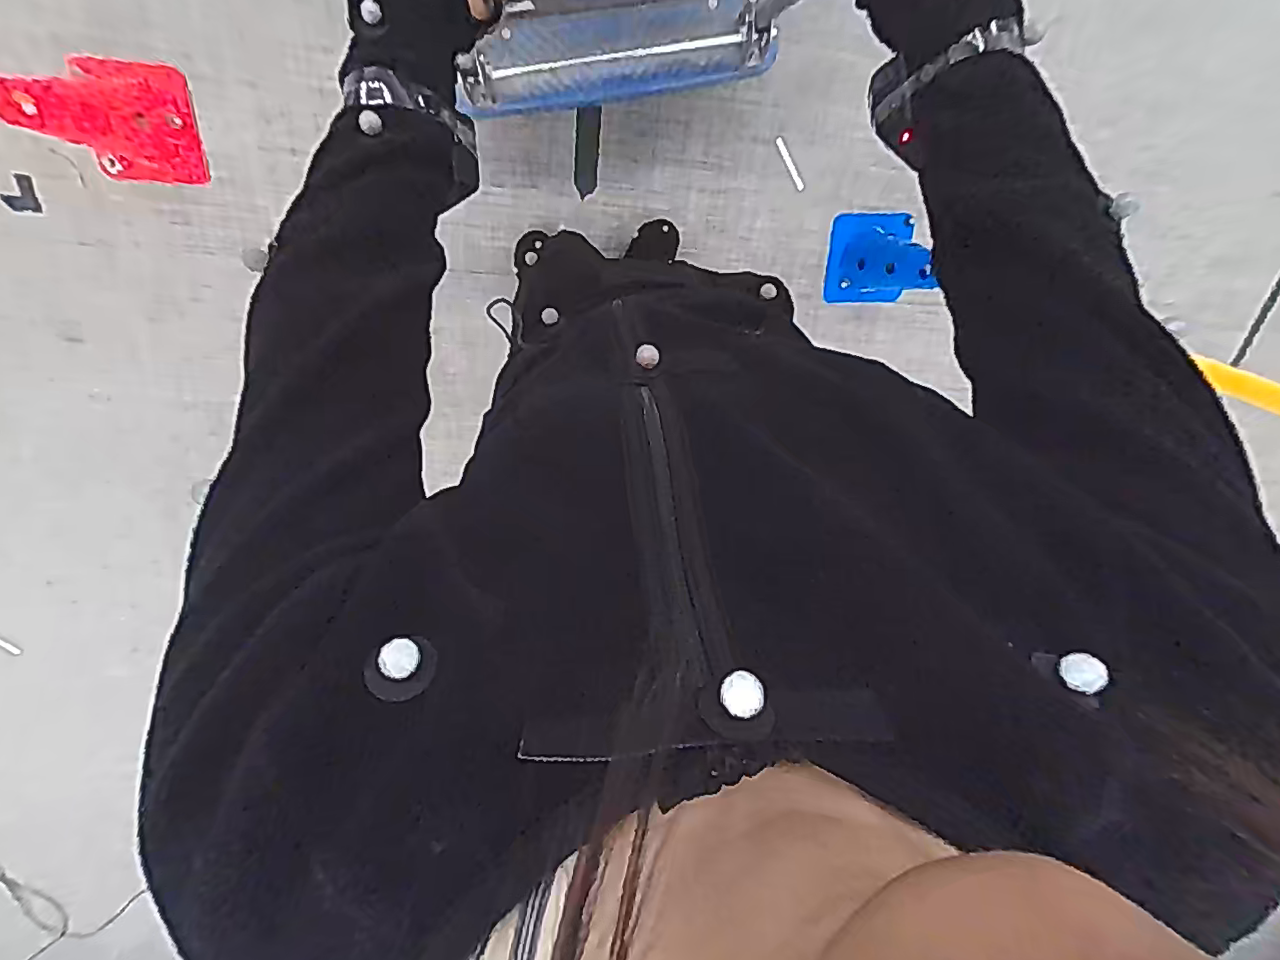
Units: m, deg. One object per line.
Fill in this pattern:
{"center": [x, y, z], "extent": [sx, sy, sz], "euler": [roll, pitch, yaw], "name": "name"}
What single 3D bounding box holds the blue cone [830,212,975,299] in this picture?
{"center": [0.569, -0.462, 1.145], "extent": [0.193, 0.380, 0.192], "euler": [-2, 116, -6], "name": "blue cone"}
